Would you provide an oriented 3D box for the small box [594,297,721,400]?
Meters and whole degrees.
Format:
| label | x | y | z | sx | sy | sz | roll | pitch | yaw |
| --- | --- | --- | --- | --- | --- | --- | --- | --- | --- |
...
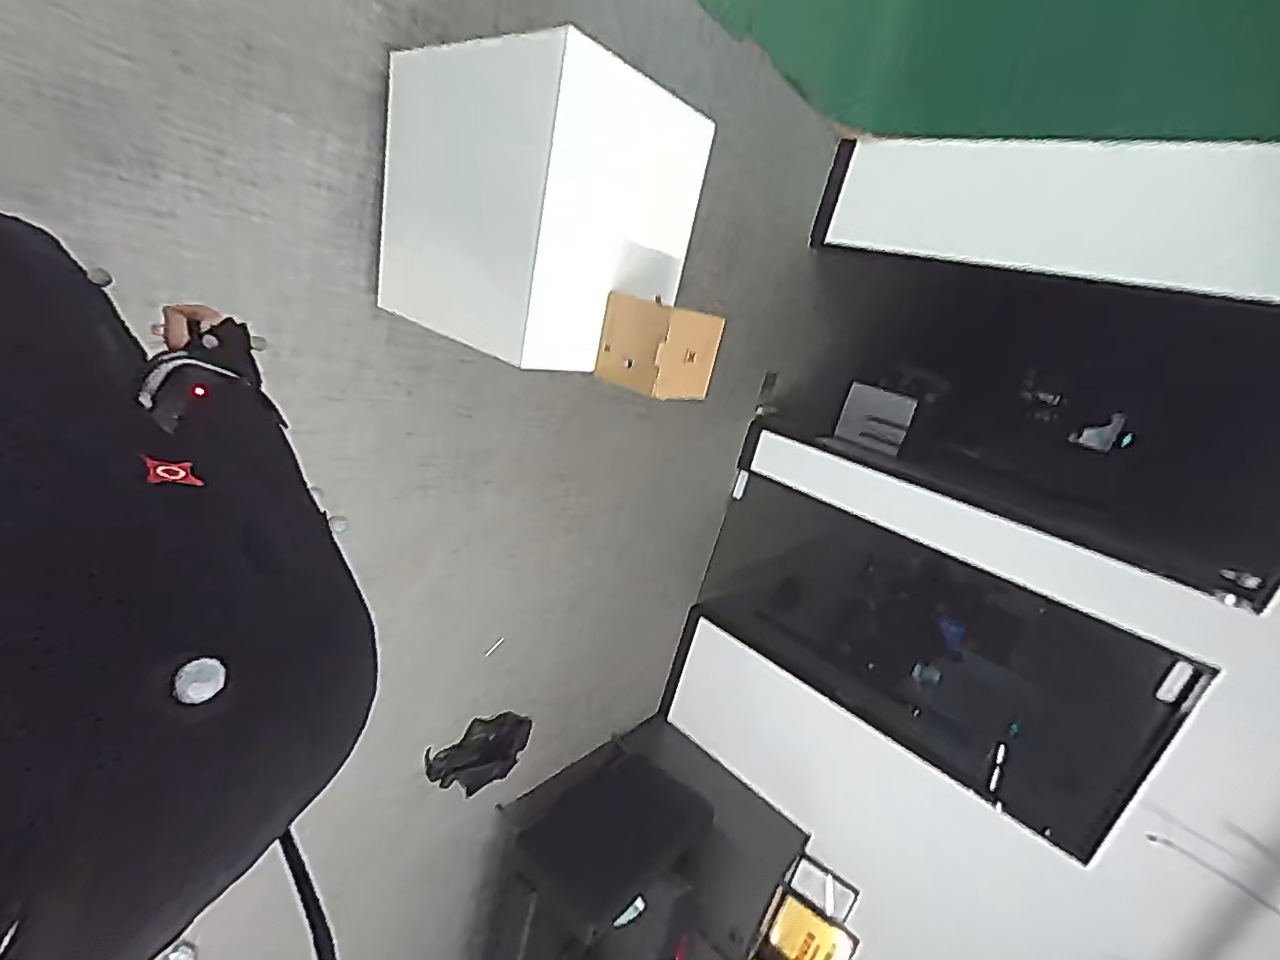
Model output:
| label | x | y | z | sx | sy | sz | roll | pitch | yaw |
| --- | --- | --- | --- | --- | --- | --- | --- | --- | --- |
| small box | 0.032 | -0.264 | 1.091 | 0.179 | 0.176 | 0.168 | -11 | 121 | -50 |
